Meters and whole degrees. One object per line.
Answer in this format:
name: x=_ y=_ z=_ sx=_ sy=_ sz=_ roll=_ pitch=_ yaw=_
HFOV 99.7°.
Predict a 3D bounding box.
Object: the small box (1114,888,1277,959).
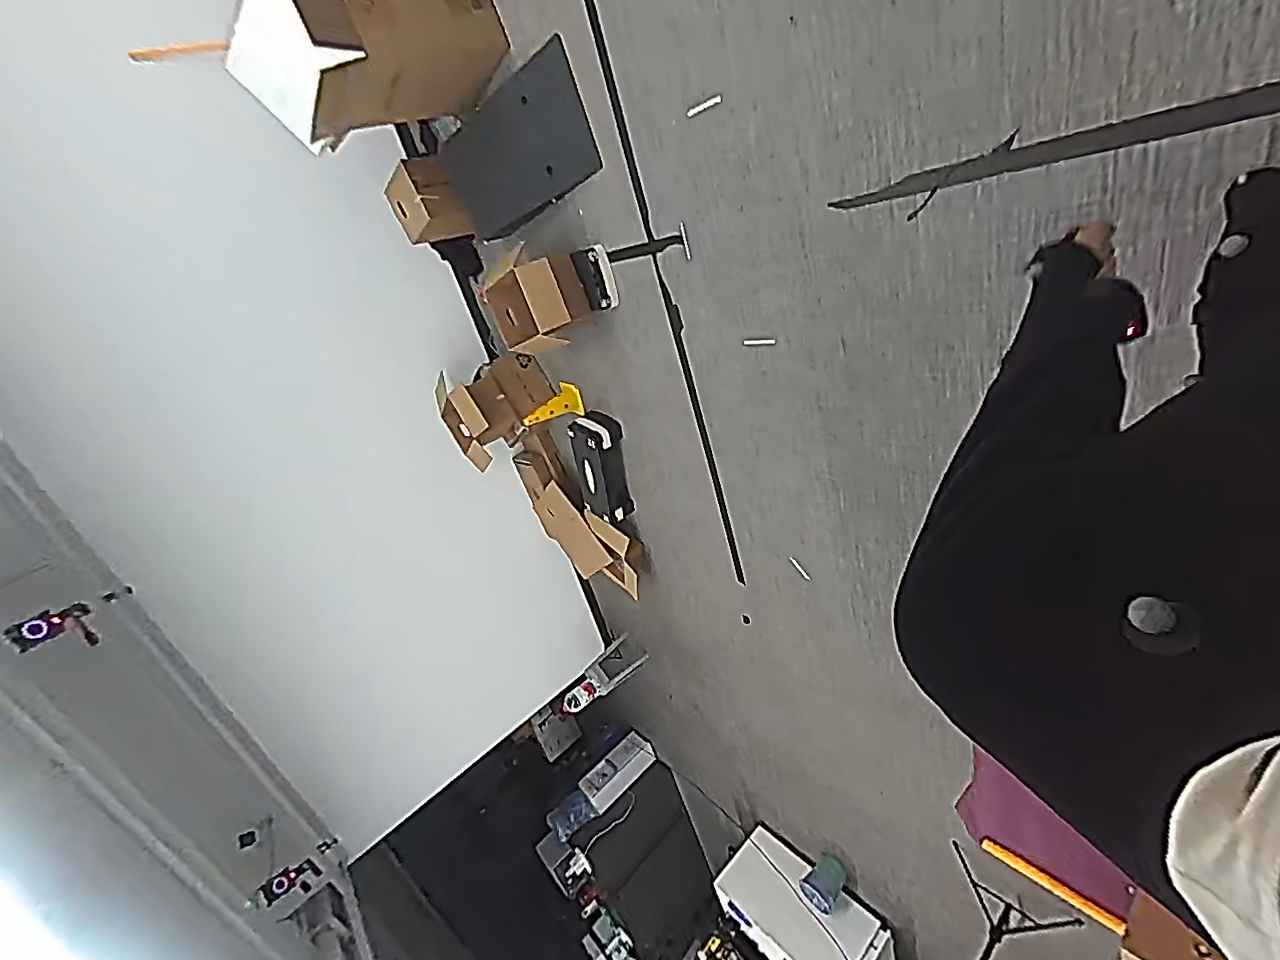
small box: x=0.980 y=0.882 z=0.963 sx=0.179 sy=0.176 sz=0.168 roll=11 pitch=125 yaw=51
